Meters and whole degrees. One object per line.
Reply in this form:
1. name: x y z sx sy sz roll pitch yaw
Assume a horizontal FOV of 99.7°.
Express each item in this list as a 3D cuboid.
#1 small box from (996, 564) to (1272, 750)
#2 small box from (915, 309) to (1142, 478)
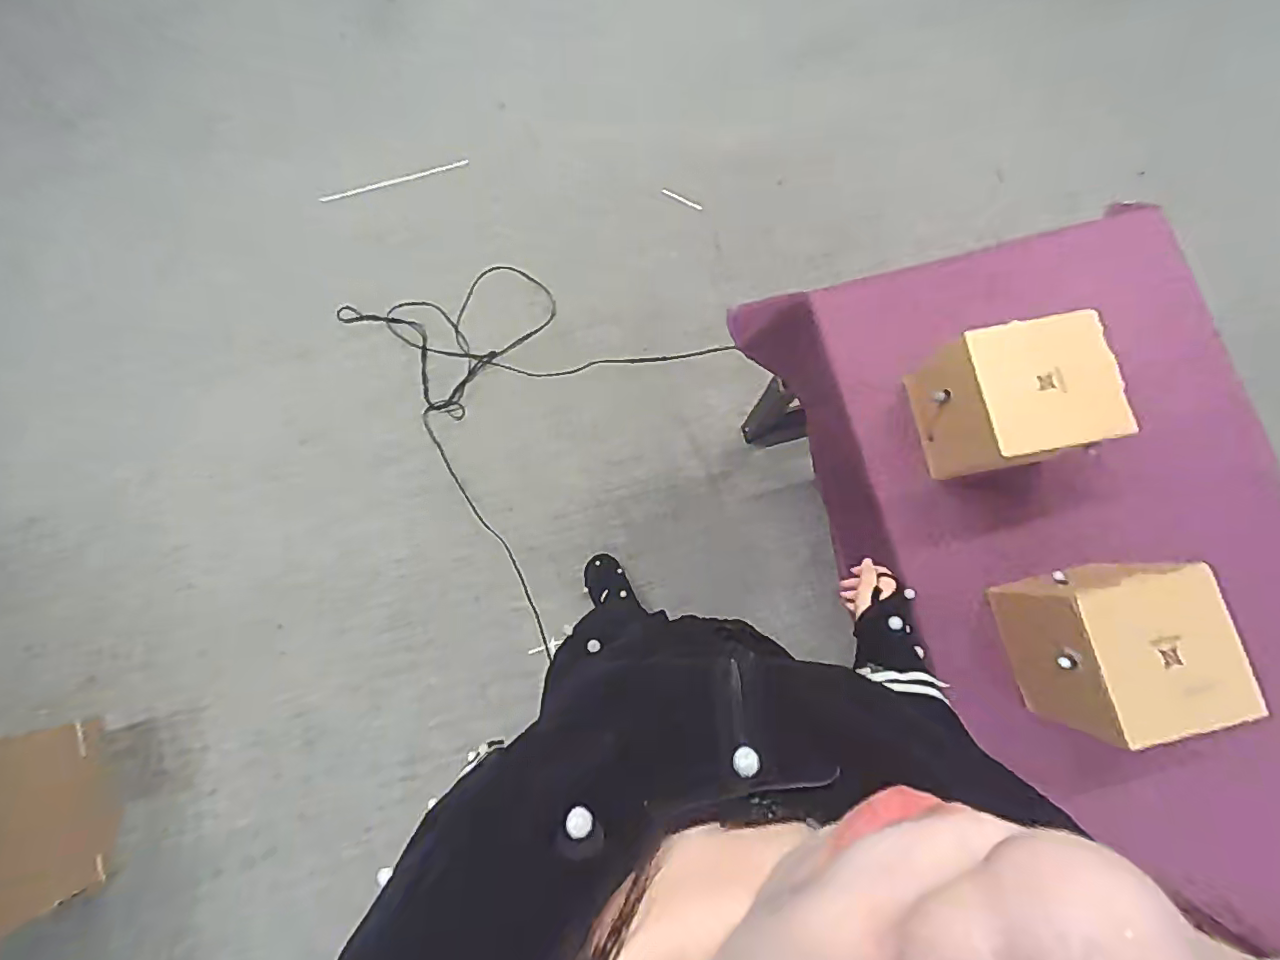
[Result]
1. small box: 0.596 0.210 0.682 0.168 0.176 0.179 -12 81 -1
2. small box: 0.505 -0.107 0.739 0.179 0.176 0.168 -10 80 -2
